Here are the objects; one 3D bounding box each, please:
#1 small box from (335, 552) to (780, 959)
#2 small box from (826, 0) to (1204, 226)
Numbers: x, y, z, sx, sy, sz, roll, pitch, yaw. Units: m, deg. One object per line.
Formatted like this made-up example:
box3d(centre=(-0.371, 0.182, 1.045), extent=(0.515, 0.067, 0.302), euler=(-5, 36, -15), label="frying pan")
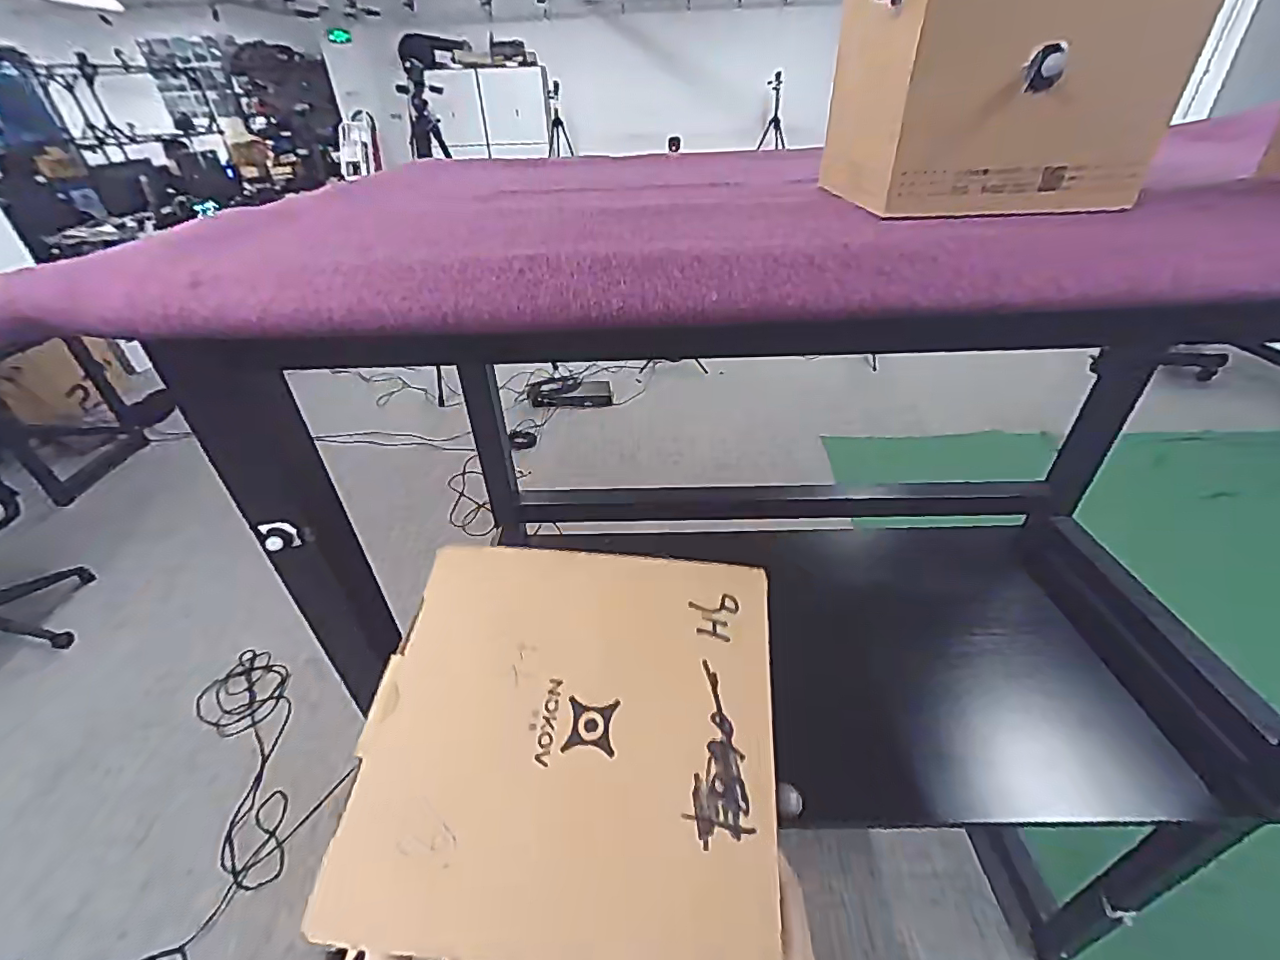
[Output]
box3d(centre=(-0.023, 0.158, 0.312), extent=(0.179, 0.176, 0.168), euler=(4, 54, 5), label="small box")
box3d(centre=(0.248, -0.288, 0.393), extent=(0.168, 0.176, 0.179), euler=(0, 35, 2), label="small box")
